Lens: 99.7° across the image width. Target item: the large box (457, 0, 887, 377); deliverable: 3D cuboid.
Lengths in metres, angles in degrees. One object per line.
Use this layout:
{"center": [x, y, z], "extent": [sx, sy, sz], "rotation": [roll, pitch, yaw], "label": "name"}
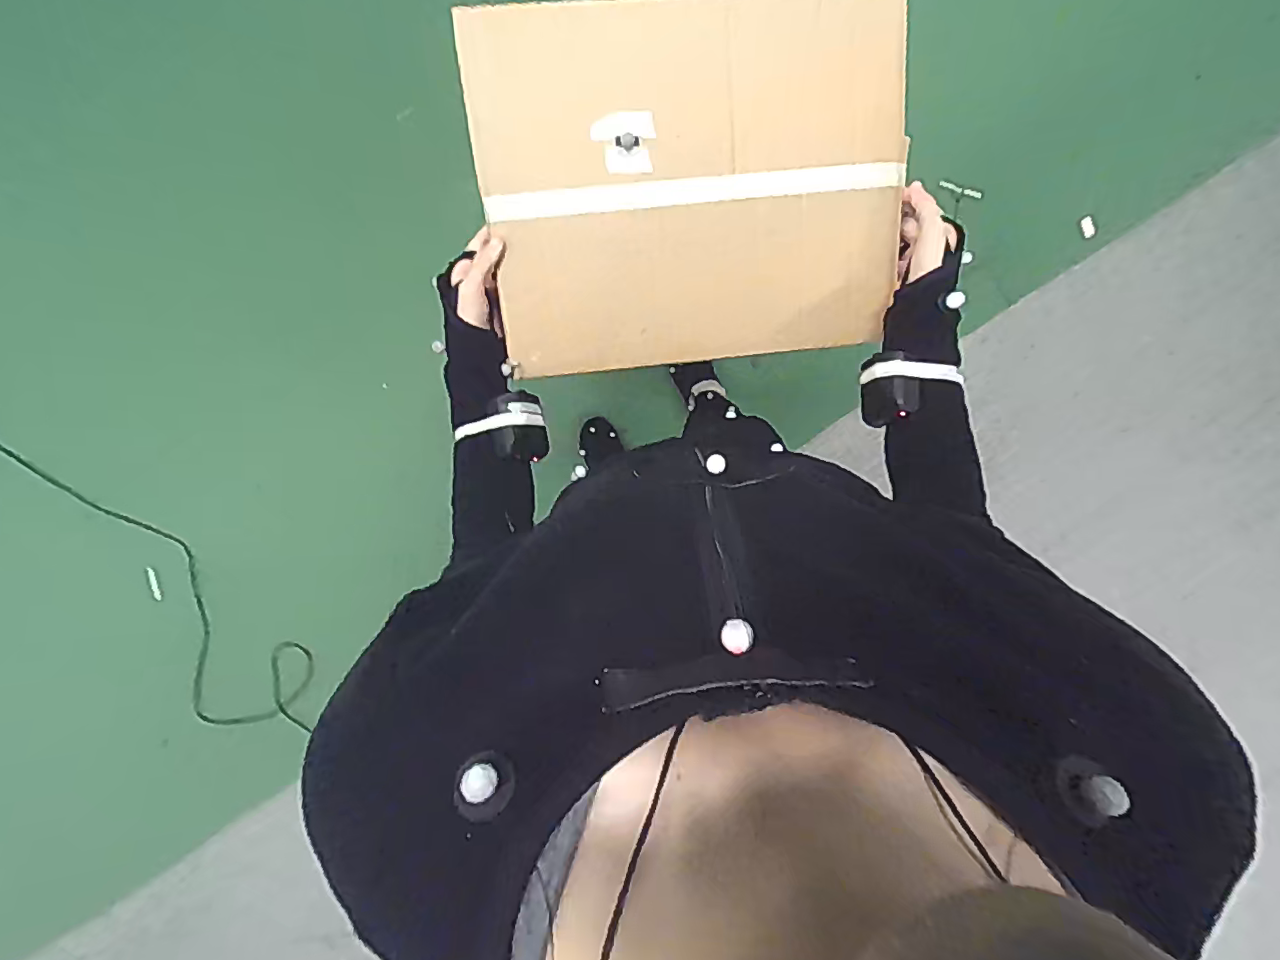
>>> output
{"center": [0.035, -0.322, 0.673], "extent": [0.408, 0.320, 0.320], "rotation": [-7, 107, -4], "label": "large box"}
